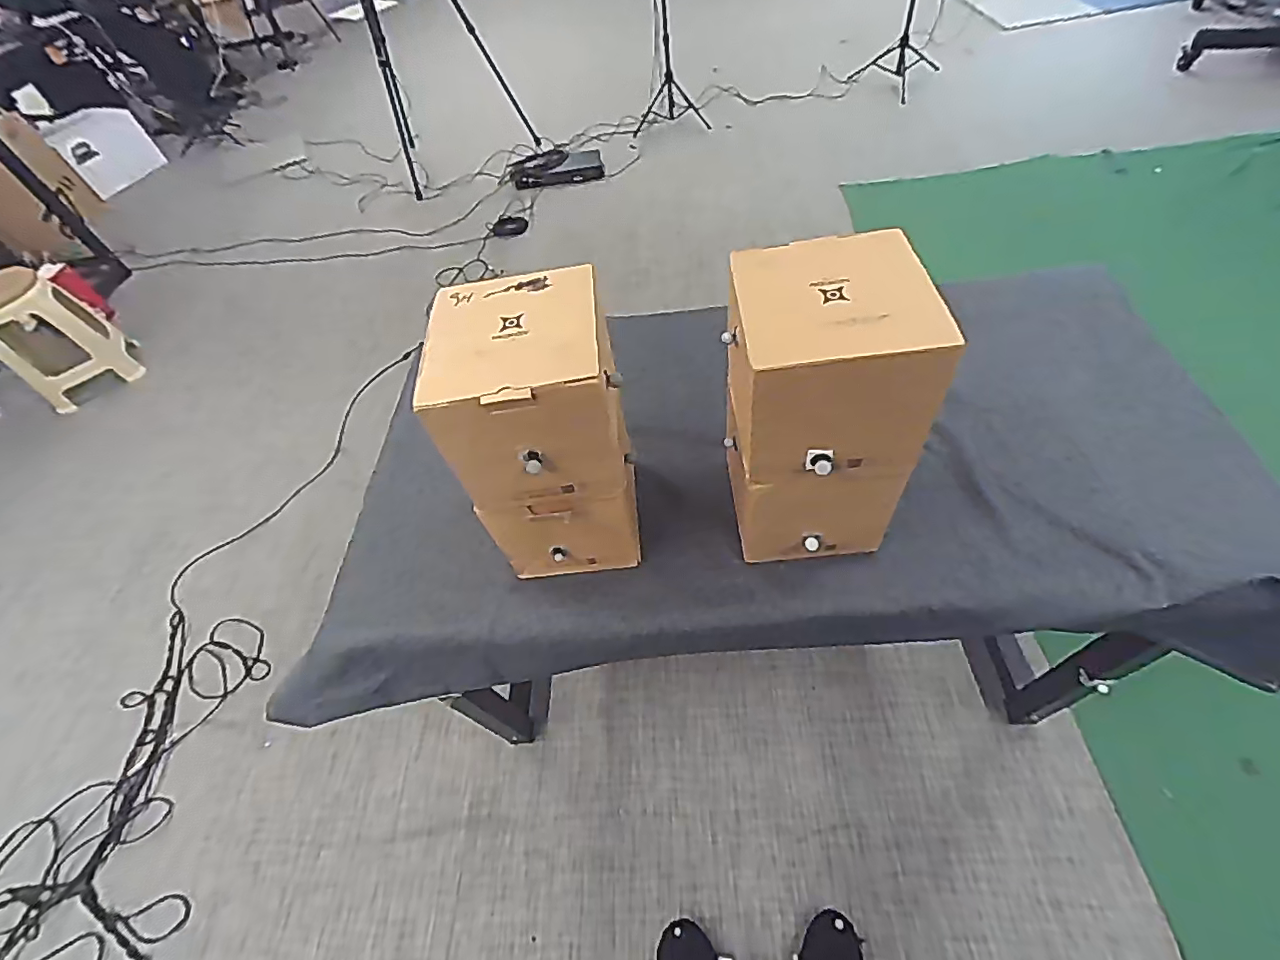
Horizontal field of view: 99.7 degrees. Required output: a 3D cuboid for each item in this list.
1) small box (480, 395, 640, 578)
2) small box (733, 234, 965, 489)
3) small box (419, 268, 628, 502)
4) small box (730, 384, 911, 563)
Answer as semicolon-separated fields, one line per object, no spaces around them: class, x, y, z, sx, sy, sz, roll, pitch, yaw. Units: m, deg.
small box;-0.093;0.006;0.705;0.168;0.176;0.179;-7;53;3
small box;0.183;-0.114;0.542;0.168;0.176;0.179;-6;53;6
small box;-0.108;-0.090;0.573;0.168;0.176;0.179;-8;53;3
small box;0.204;-0.017;0.671;0.168;0.176;0.179;-6;52;5
